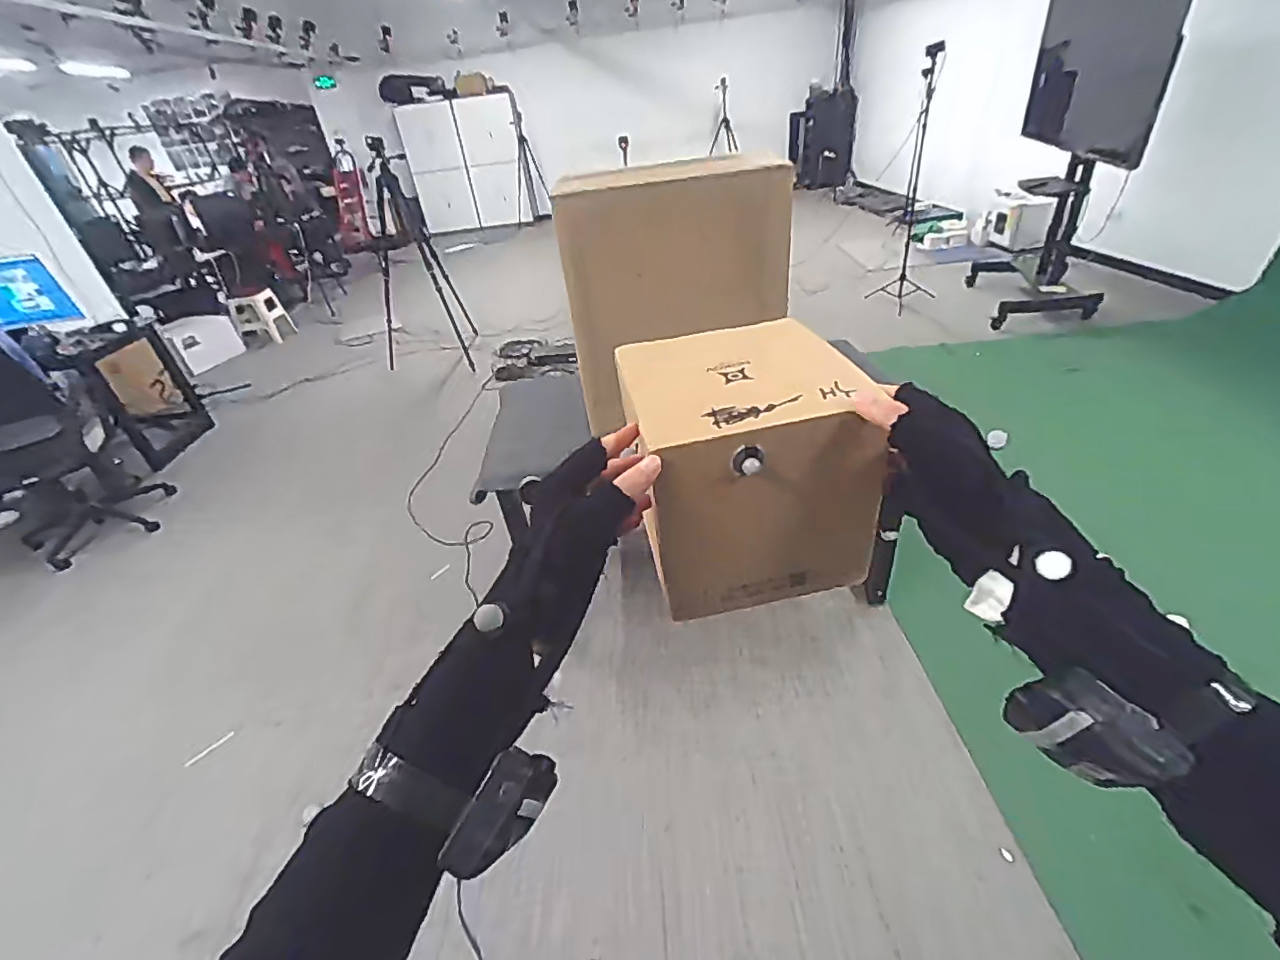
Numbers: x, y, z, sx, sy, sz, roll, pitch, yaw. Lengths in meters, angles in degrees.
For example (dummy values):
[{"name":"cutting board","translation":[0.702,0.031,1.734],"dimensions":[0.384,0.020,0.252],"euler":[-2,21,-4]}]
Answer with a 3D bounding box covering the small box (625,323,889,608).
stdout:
[{"name":"small box","translation":[0.086,-0.019,0.472],"dimensions":[0.168,0.176,0.179],"euler":[-12,34,-3]}]
